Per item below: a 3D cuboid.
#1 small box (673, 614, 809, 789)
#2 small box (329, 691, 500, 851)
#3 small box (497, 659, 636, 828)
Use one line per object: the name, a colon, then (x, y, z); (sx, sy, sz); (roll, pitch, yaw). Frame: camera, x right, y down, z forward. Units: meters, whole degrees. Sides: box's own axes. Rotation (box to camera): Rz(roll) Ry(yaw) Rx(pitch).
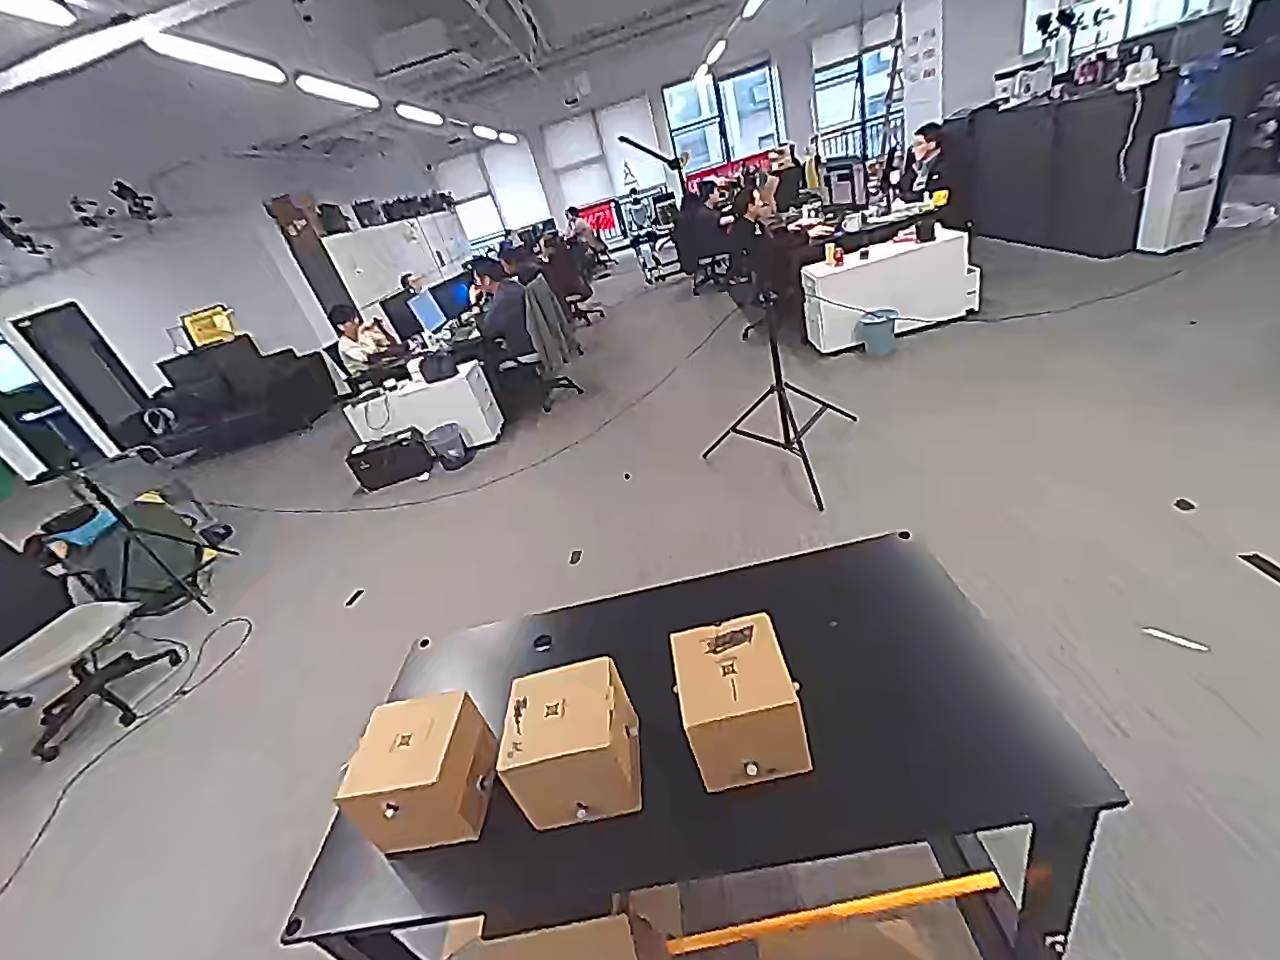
small box: (0.155, 0.348, 0.856); (0.168, 0.176, 0.179); (-15, 29, 5)
small box: (-0.360, 0.485, 0.900); (0.179, 0.176, 0.168); (-12, 30, 7)
small box: (-0.106, 0.423, 0.871); (0.179, 0.176, 0.168); (-14, 29, 4)
